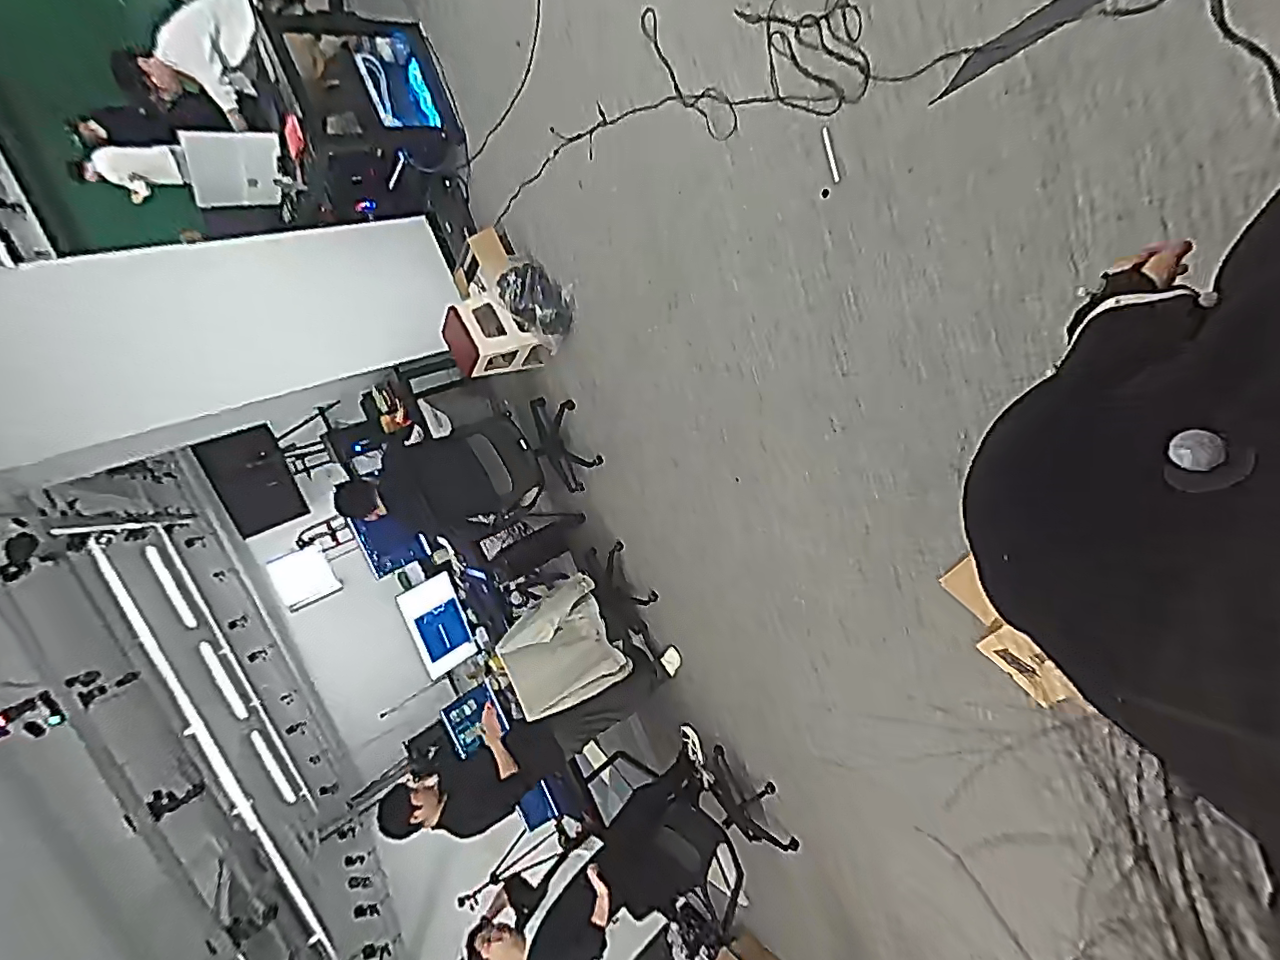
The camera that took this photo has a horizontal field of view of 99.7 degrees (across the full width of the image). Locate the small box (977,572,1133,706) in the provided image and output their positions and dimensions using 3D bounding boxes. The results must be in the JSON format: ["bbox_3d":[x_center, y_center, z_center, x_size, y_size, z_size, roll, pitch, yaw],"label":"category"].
[{"bbox_3d":[0.858,0.324,1.118,0.168,0.176,0.179,46,143,25],"label":"small box"}]
